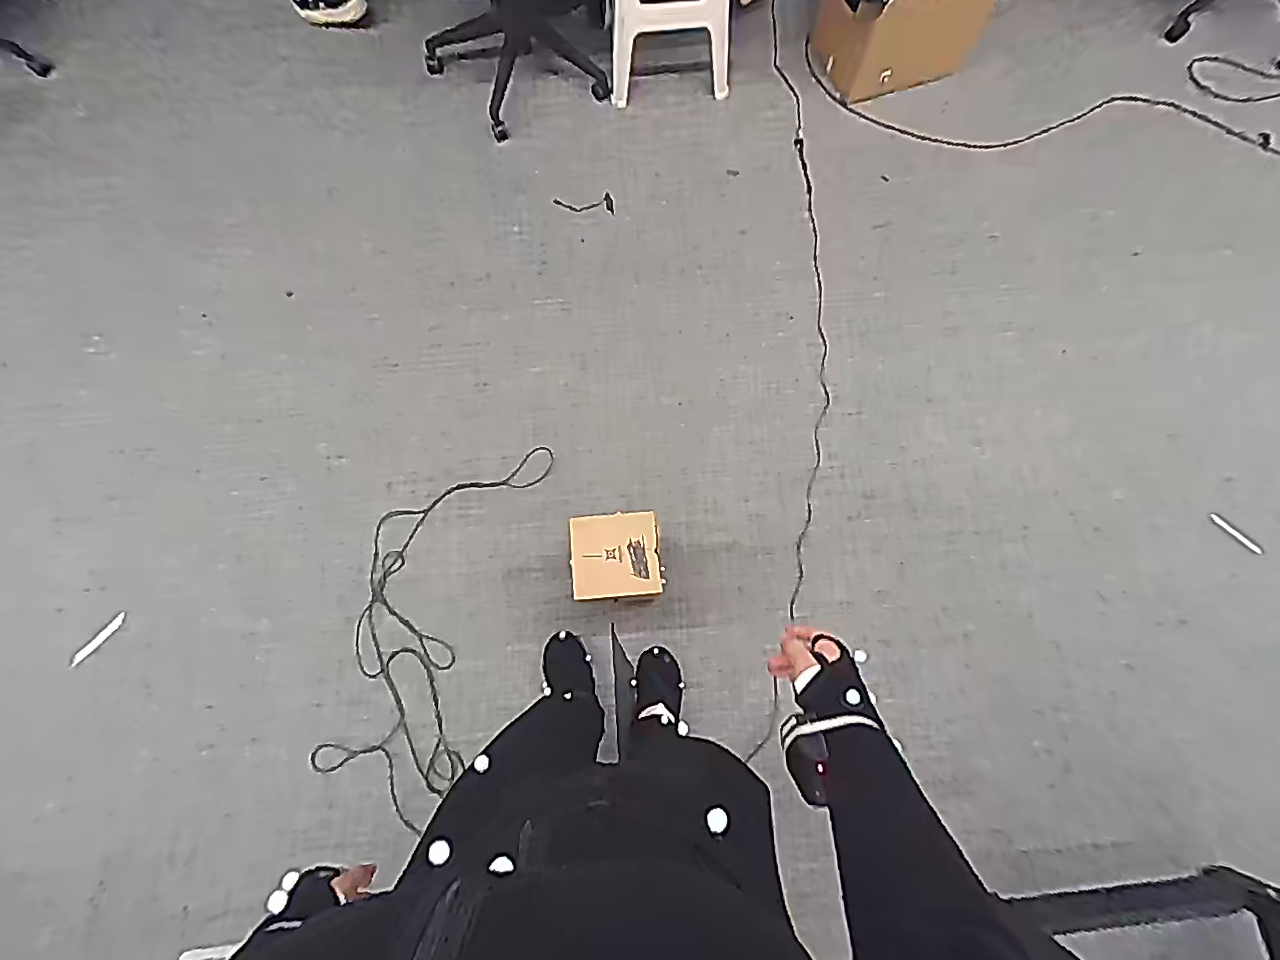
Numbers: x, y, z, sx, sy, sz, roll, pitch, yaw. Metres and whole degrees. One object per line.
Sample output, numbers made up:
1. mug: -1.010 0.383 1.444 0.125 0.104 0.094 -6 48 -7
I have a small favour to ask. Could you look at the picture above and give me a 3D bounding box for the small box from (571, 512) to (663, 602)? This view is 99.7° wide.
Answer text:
1. small box: -0.048 0.169 1.153 0.179 0.176 0.168 -5 75 0
